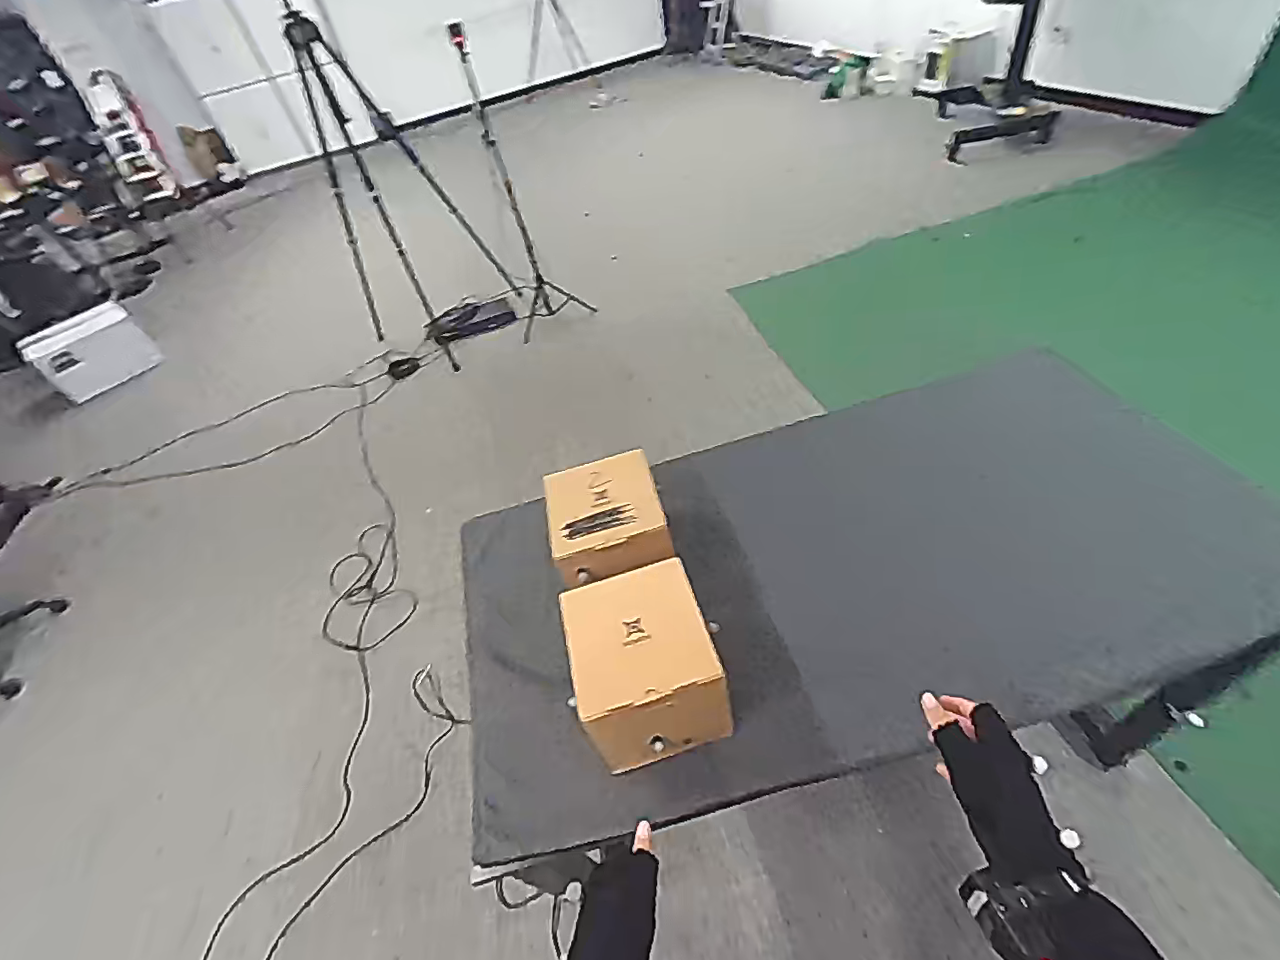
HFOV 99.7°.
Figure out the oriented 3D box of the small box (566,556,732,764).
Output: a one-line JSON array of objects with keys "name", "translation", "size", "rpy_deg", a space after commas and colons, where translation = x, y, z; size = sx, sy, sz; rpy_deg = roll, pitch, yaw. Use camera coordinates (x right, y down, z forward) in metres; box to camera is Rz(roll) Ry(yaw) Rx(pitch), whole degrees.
[{"name": "small box", "translation": [0.012, 0.236, 0.711], "size": [0.168, 0.176, 0.179], "rpy_deg": [-18, 44, -3]}]
